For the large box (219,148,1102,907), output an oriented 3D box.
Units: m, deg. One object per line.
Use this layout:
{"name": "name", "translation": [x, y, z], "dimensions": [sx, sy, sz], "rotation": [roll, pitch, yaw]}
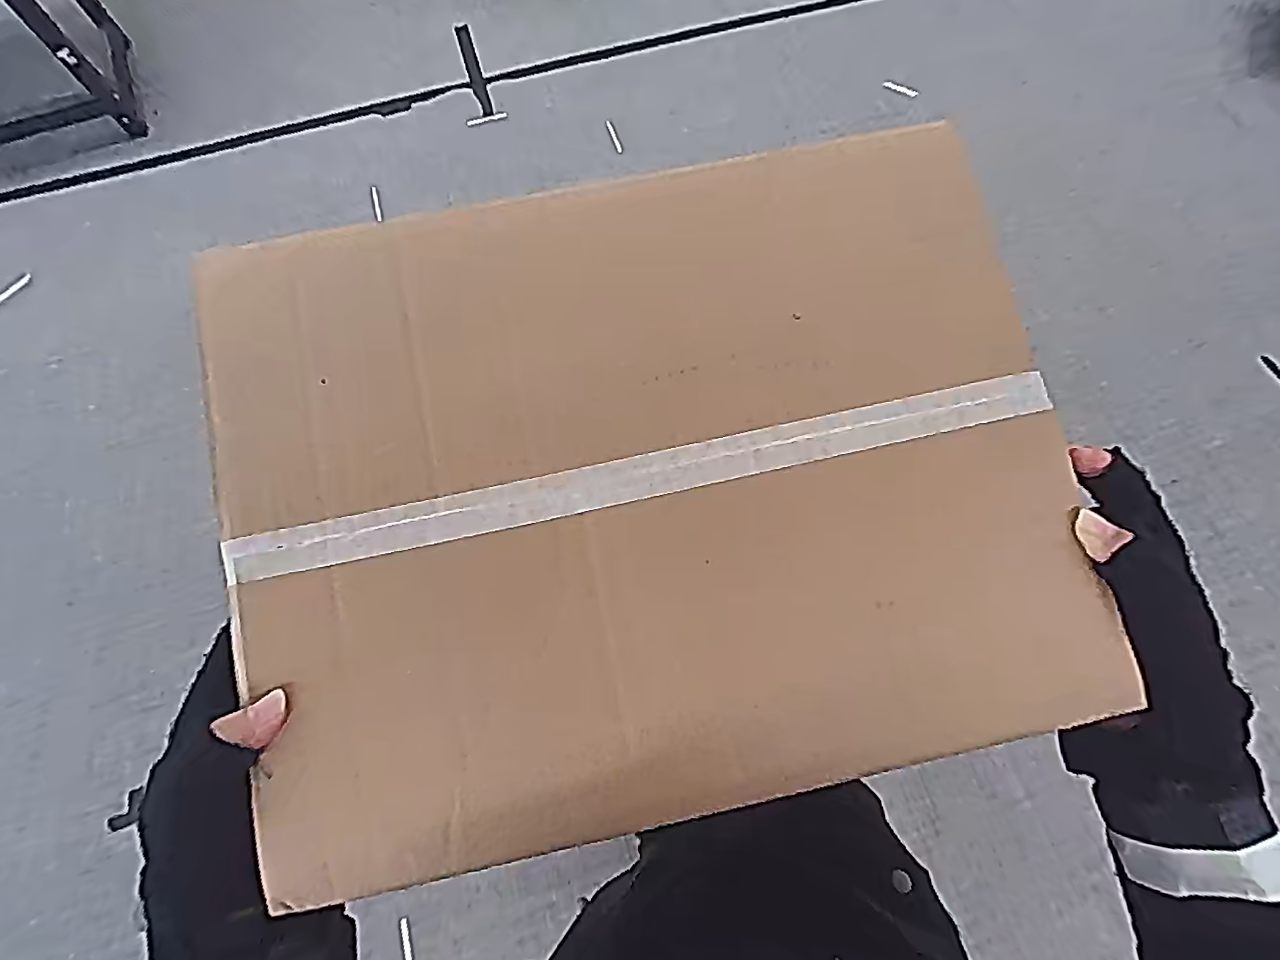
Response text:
{"name": "large box", "translation": [0.003, 0.023, 0.422], "dimensions": [0.408, 0.320, 0.320], "rotation": [-12, 82, -3]}
